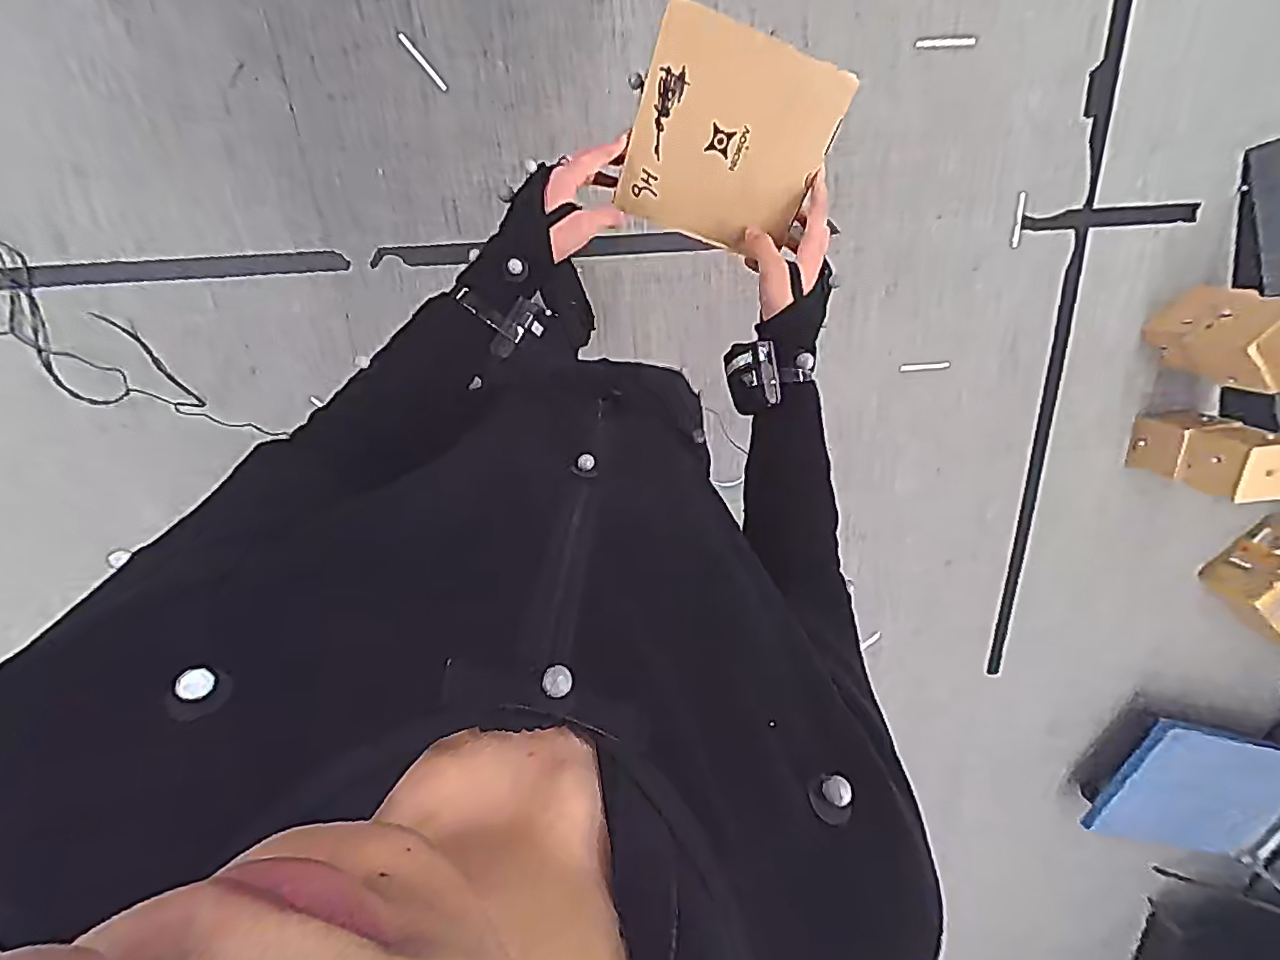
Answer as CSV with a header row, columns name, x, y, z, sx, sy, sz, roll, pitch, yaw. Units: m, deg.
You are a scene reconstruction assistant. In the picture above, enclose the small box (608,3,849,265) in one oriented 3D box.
name,x,y,z,sx,sy,sz,roll,pitch,yaw
small box,0.077,-0.355,0.563,0.179,0.176,0.168,16,126,-11
